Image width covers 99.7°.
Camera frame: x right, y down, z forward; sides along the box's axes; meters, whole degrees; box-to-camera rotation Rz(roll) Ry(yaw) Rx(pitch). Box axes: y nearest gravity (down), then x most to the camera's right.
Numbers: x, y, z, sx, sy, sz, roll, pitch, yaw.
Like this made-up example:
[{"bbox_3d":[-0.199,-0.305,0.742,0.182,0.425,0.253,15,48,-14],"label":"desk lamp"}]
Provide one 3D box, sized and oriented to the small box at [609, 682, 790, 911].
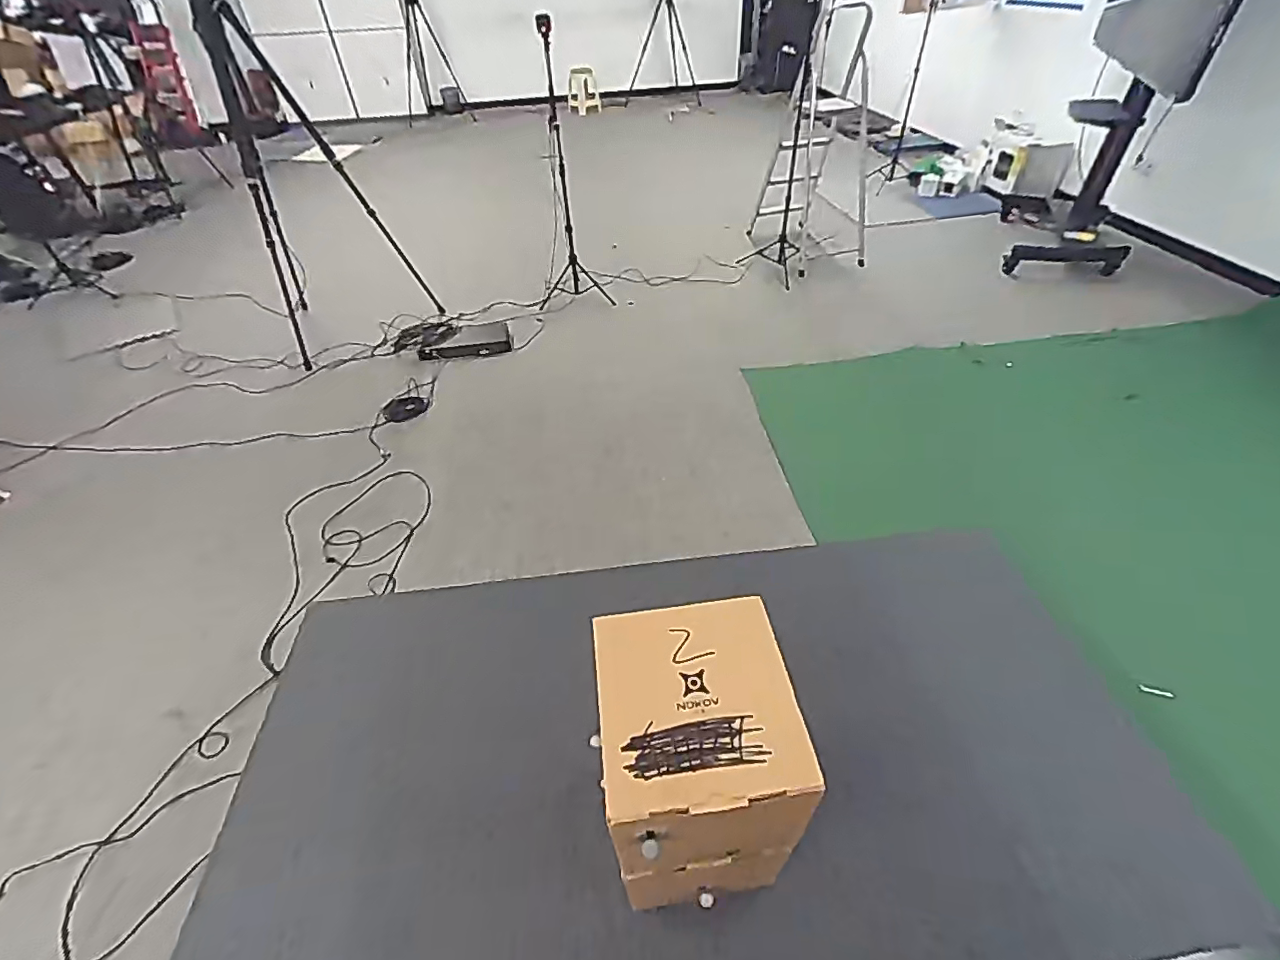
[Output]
[{"bbox_3d":[0.056,0.365,0.626,0.168,0.176,0.179,-7,44,-4],"label":"small box"}]
